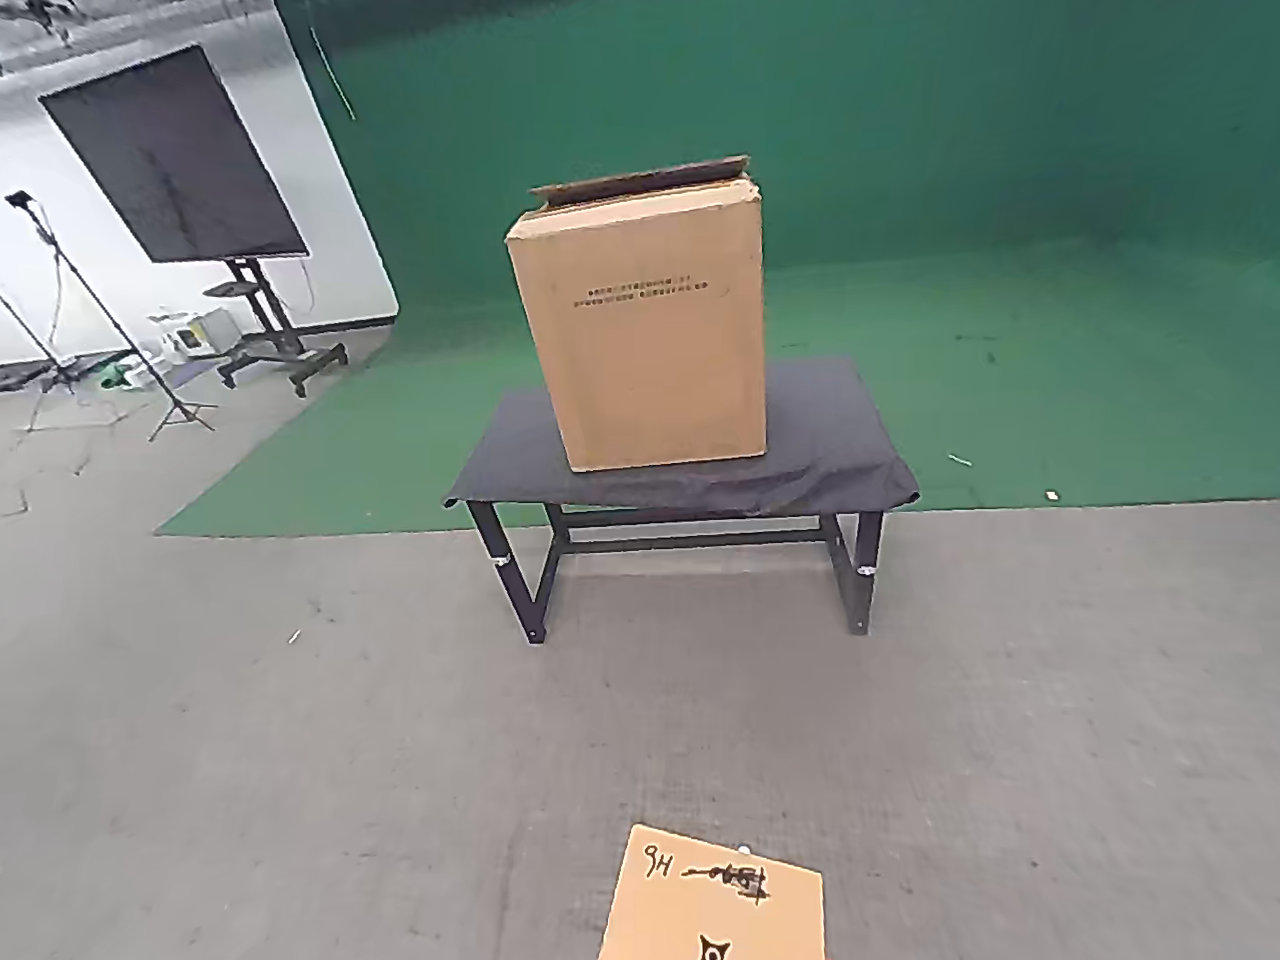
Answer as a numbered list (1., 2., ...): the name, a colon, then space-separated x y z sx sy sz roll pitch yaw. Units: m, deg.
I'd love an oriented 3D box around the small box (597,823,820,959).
1. small box: 0.051 0.432 0.442 0.168 0.176 0.179 7 32 12
